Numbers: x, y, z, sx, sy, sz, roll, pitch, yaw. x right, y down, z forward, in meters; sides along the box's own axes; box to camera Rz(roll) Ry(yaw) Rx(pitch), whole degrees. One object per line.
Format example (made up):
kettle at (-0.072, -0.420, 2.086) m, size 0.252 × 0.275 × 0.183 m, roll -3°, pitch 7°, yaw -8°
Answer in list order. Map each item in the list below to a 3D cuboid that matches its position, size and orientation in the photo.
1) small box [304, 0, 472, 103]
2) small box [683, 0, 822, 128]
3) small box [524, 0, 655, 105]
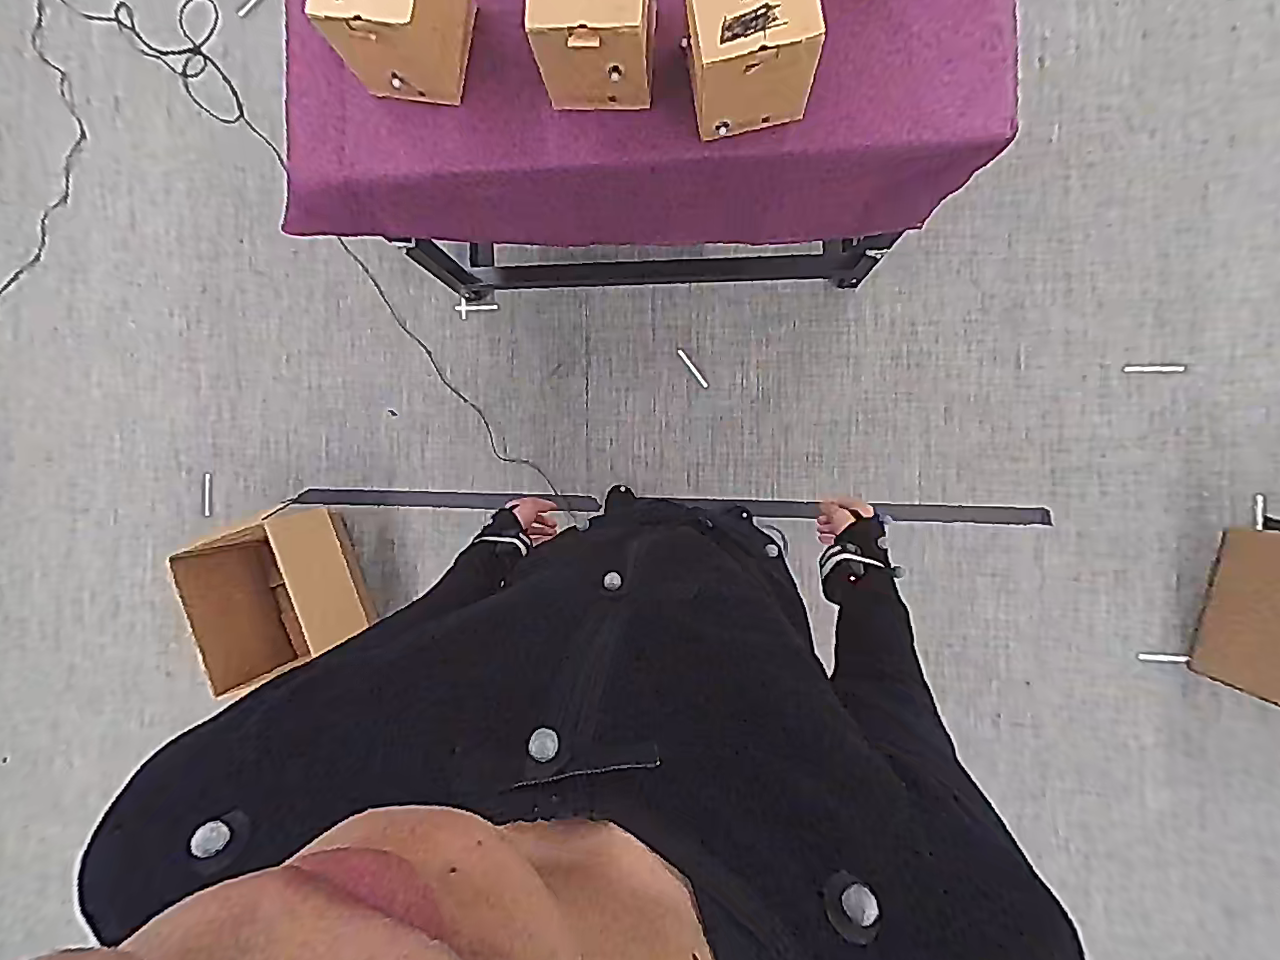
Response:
small box at (-0.381, -0.741, 0.847) m, size 0.168 × 0.176 × 0.179 m, roll 10°, pitch 92°, yaw 6°
small box at (0.156, -0.657, 0.795) m, size 0.168 × 0.176 × 0.179 m, roll -10°, pitch 88°, yaw 6°
small box at (-0.067, -0.706, 0.819) m, size 0.168 × 0.176 × 0.179 m, roll 4°, pitch 90°, yaw 5°
